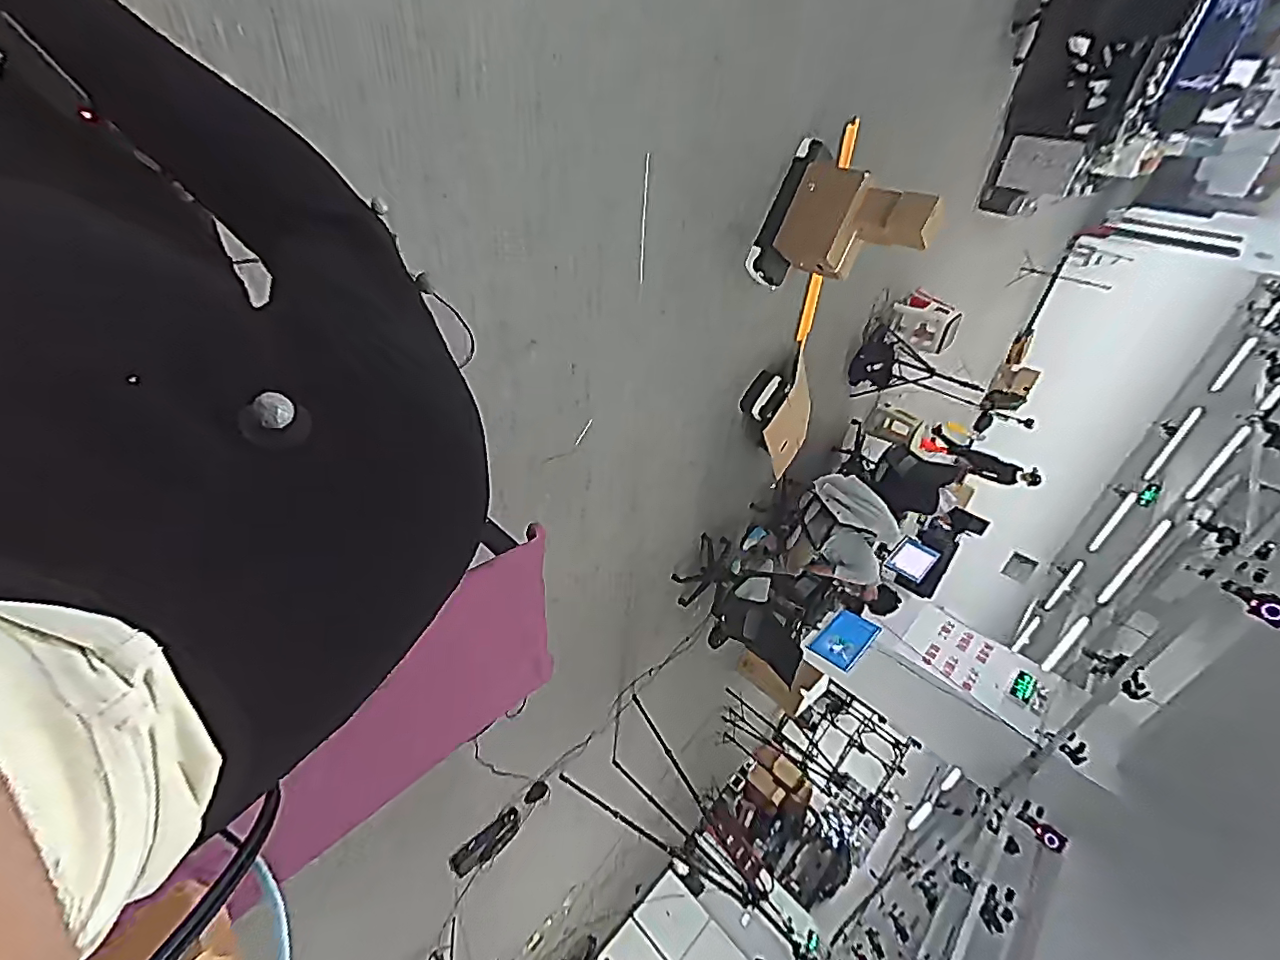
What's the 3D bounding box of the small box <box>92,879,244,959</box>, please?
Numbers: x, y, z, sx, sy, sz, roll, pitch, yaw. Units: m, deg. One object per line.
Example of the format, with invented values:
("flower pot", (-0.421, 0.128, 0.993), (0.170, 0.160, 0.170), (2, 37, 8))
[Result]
("small box", (-0.930, 0.950, 1.066), (0.179, 0.176, 0.168), (-34, 140, -34))
